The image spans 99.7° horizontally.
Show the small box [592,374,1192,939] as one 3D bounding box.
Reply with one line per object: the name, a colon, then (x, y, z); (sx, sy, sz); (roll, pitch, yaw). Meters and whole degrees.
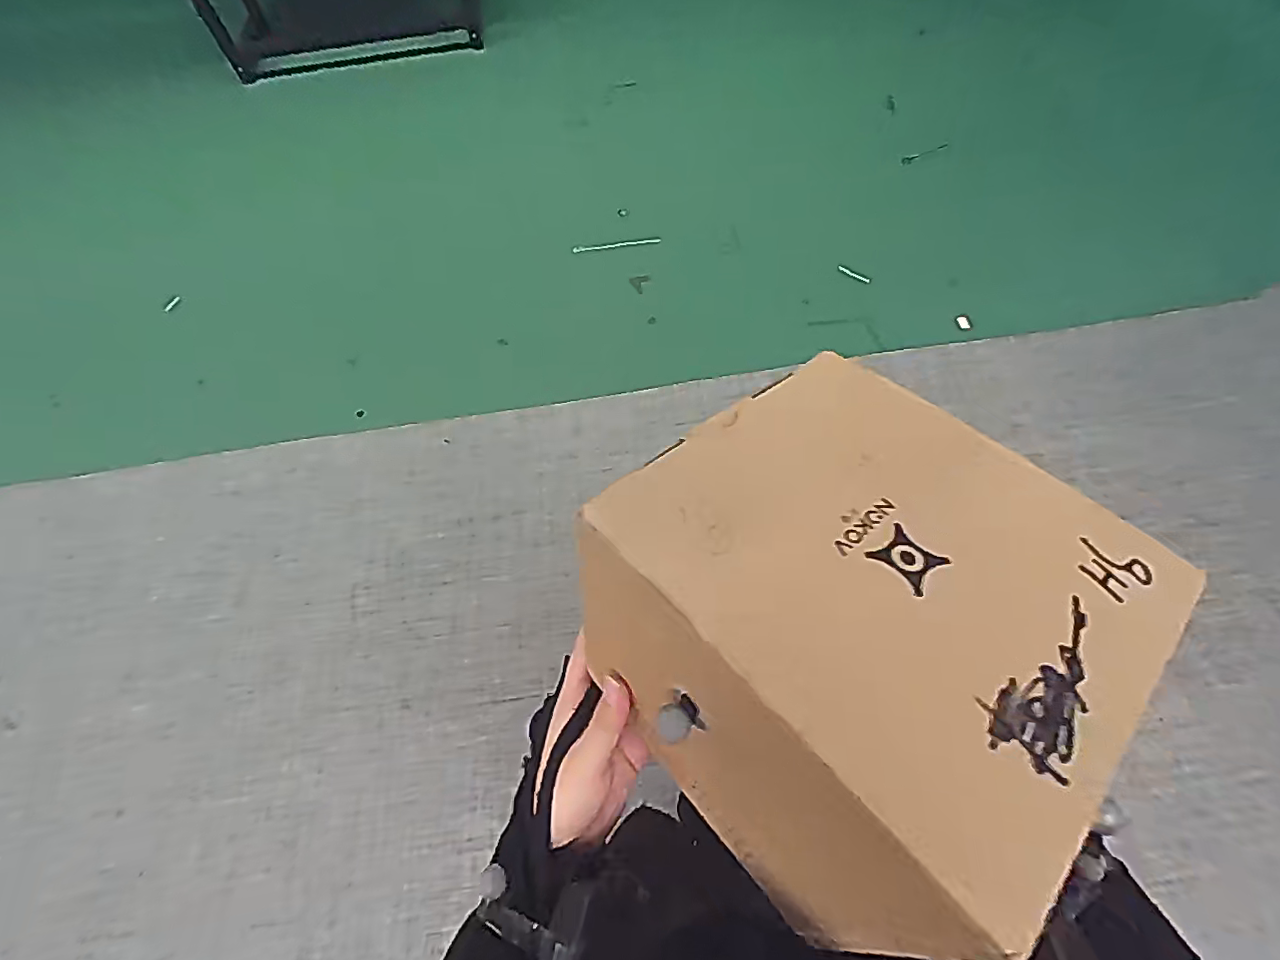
small box: (0.093, 0.083, 0.272); (0.168, 0.176, 0.179); (-34, 59, -26)
